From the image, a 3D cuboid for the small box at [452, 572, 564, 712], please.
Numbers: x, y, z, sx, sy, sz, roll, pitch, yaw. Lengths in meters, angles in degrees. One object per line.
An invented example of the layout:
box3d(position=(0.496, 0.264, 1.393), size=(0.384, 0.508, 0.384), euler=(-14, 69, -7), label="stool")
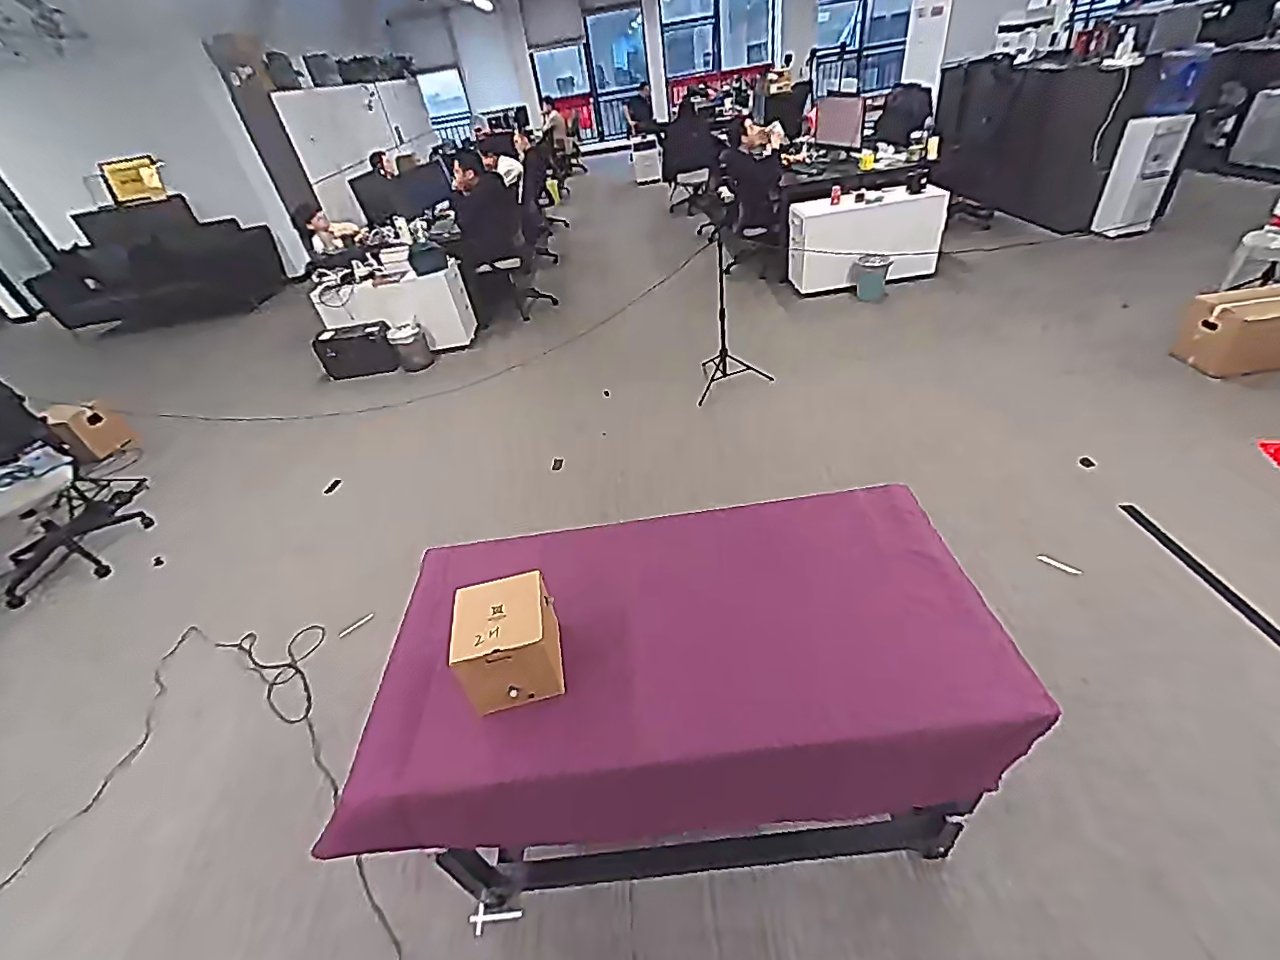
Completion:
box3d(position=(-0.247, 0.311, 1.044), size=(0.168, 0.176, 0.179), euler=(-13, 38, -3), label="small box")
